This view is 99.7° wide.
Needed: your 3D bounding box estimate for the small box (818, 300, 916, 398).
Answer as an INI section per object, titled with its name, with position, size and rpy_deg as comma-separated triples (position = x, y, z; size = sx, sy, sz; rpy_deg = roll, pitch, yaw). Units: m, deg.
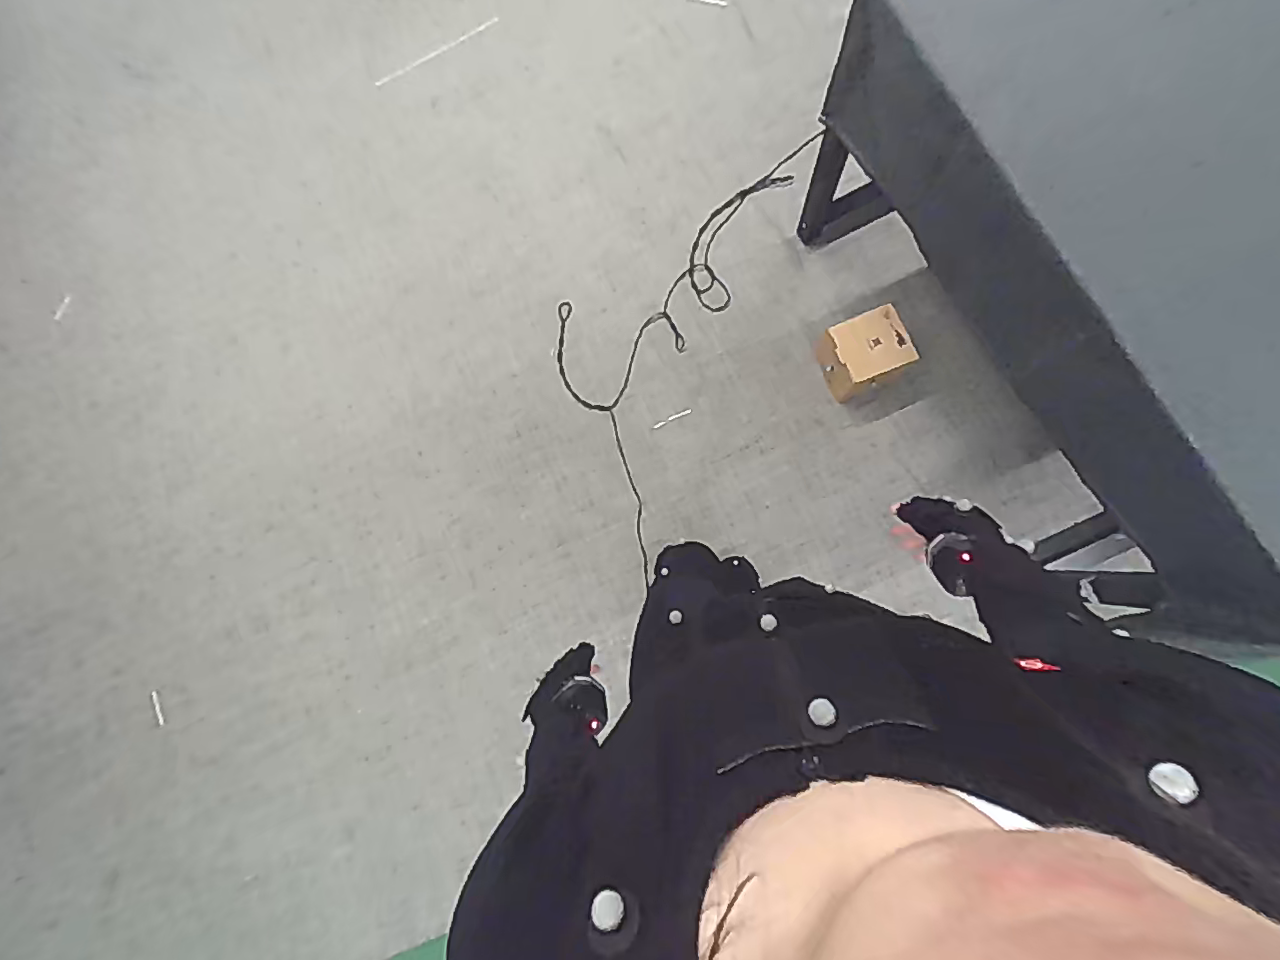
[small box]
position = 0.589, -0.338, 1.436
size = 0.179, 0.176, 0.168
rpy_deg = -22, 79, 3
